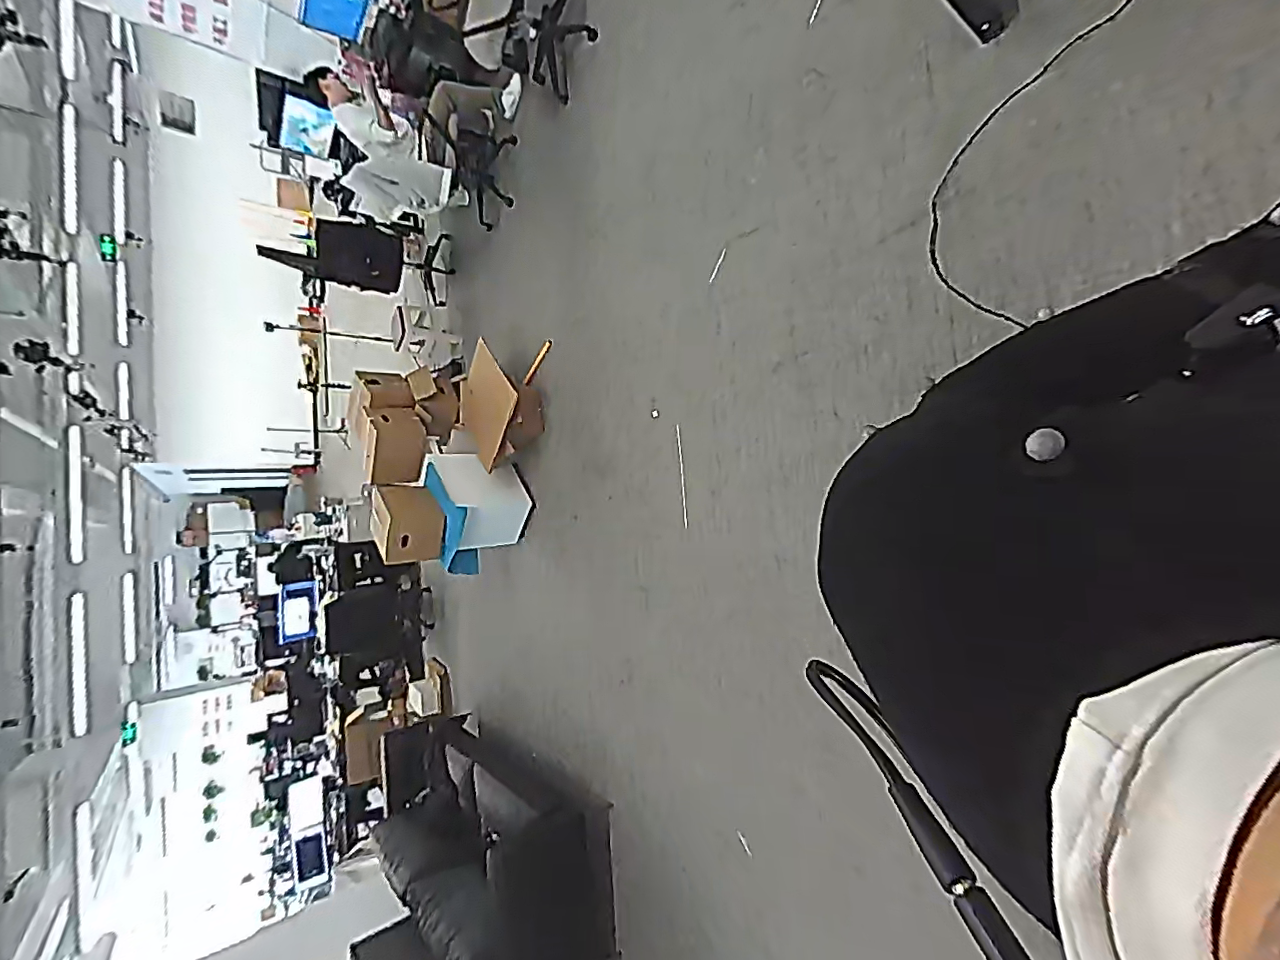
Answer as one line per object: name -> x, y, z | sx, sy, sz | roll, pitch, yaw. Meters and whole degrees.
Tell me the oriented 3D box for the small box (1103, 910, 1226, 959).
small box -> 1.109, 1.045, 1.121 | 0.168, 0.176, 0.179 | -28, 70, 48
